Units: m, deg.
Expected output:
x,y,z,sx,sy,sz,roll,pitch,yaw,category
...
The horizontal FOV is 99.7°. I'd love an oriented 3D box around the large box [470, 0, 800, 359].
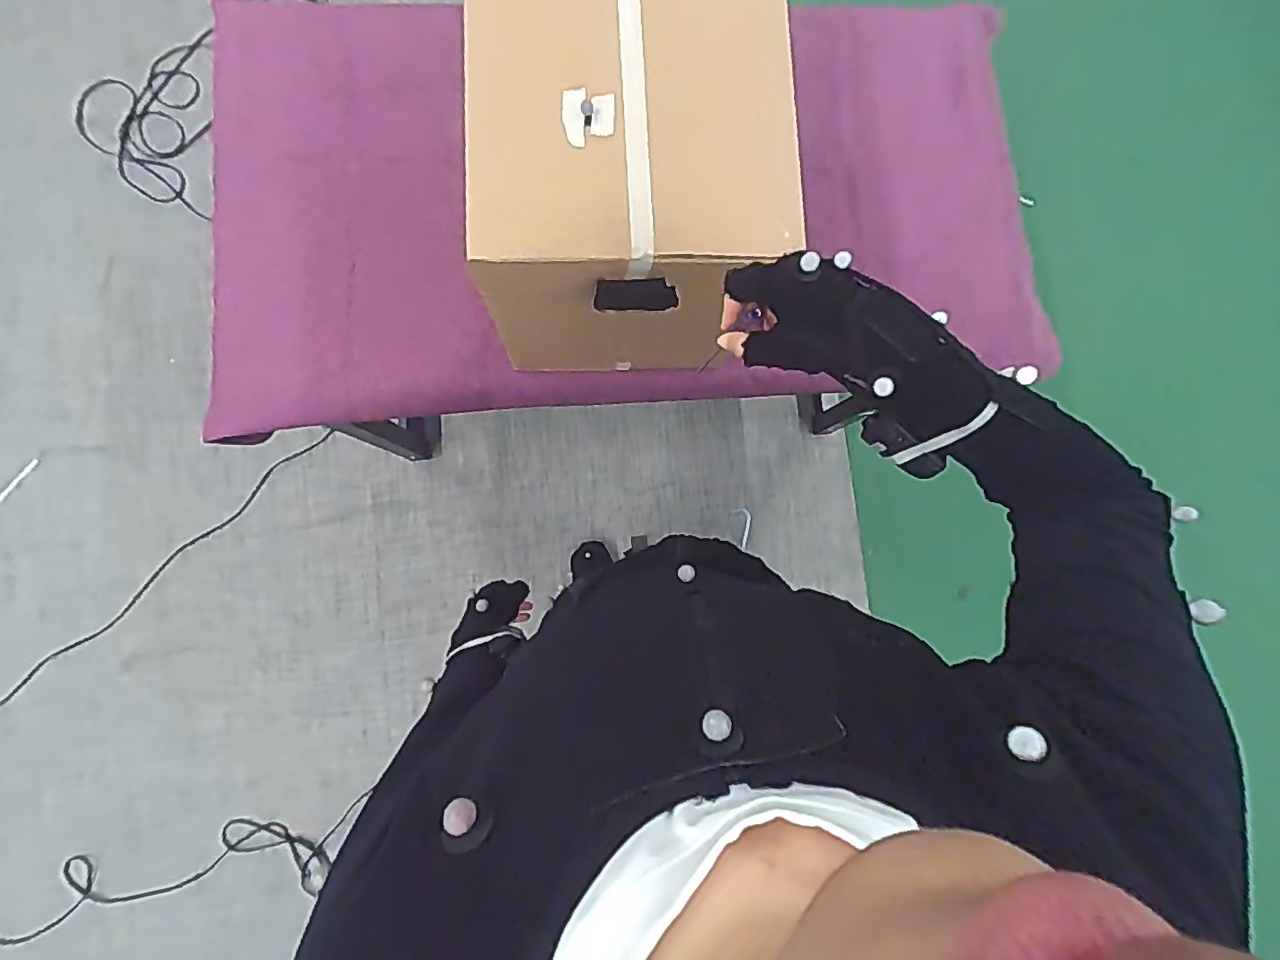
x,y,z,sx,sy,sz,roll,pitch,yaw,category
-0.021,-0.391,0.672,0.320,0.320,0.408,-2,85,-5,large box
